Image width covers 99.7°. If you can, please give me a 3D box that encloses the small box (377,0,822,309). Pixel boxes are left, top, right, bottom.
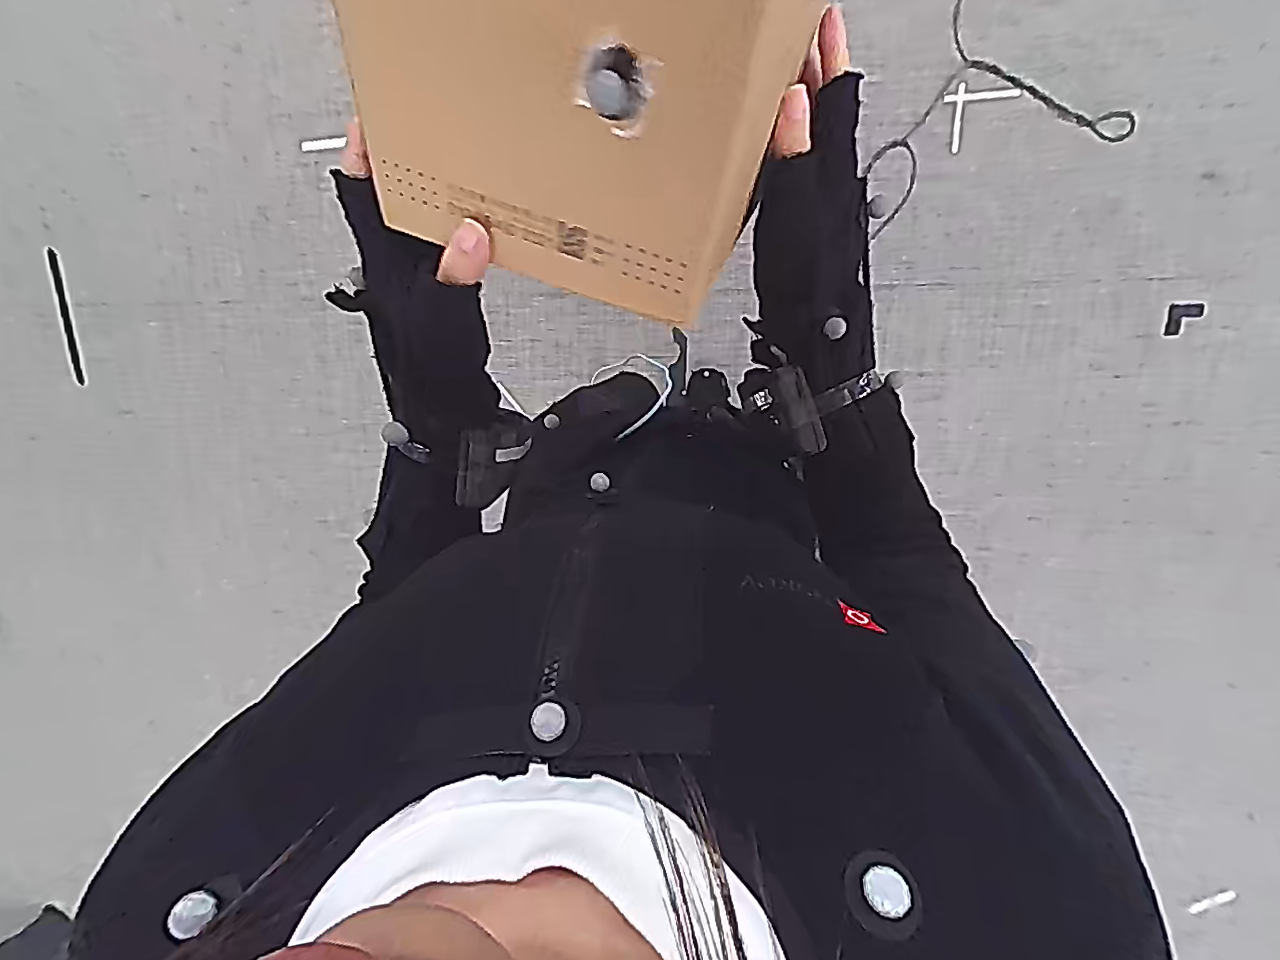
[{"bbox_3d":[-0.007,-0.215,0.269,0.168,0.179,0.176,22,141,5],"label":"small box"}]
